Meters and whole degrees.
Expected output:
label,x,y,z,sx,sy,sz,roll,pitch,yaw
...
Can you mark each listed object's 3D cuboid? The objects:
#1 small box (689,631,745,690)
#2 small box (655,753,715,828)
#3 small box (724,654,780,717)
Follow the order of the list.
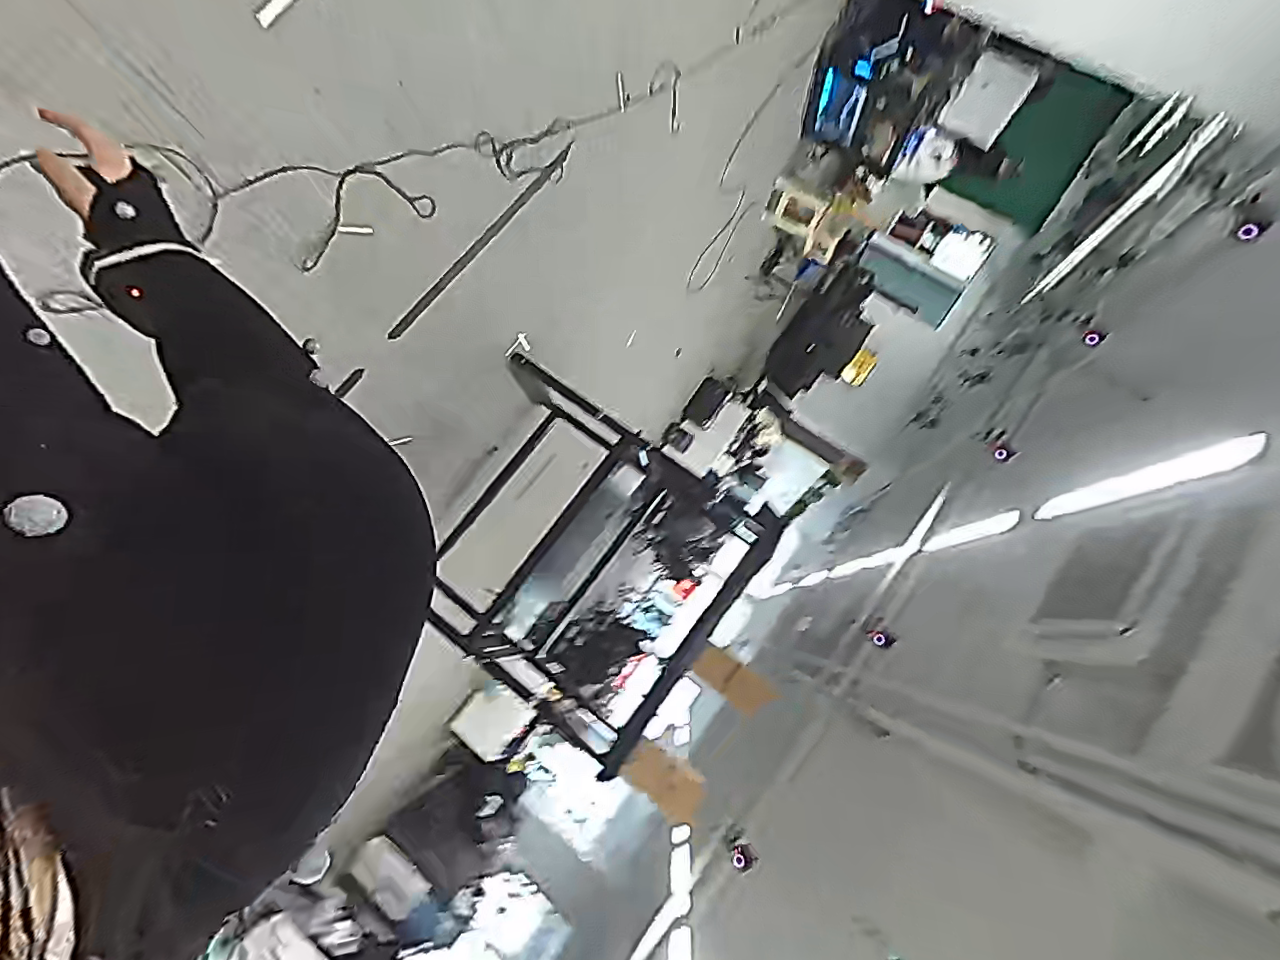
label,x,y,z,sx,sy,sz,roll,pitch,yaw
small box,0.320,0.756,2.279,0.168,0.176,0.179,-53,170,-8
small box,0.172,1.200,2.109,0.168,0.176,0.179,-54,167,-10
small box,0.451,0.843,2.236,0.168,0.176,0.179,-53,170,-6
